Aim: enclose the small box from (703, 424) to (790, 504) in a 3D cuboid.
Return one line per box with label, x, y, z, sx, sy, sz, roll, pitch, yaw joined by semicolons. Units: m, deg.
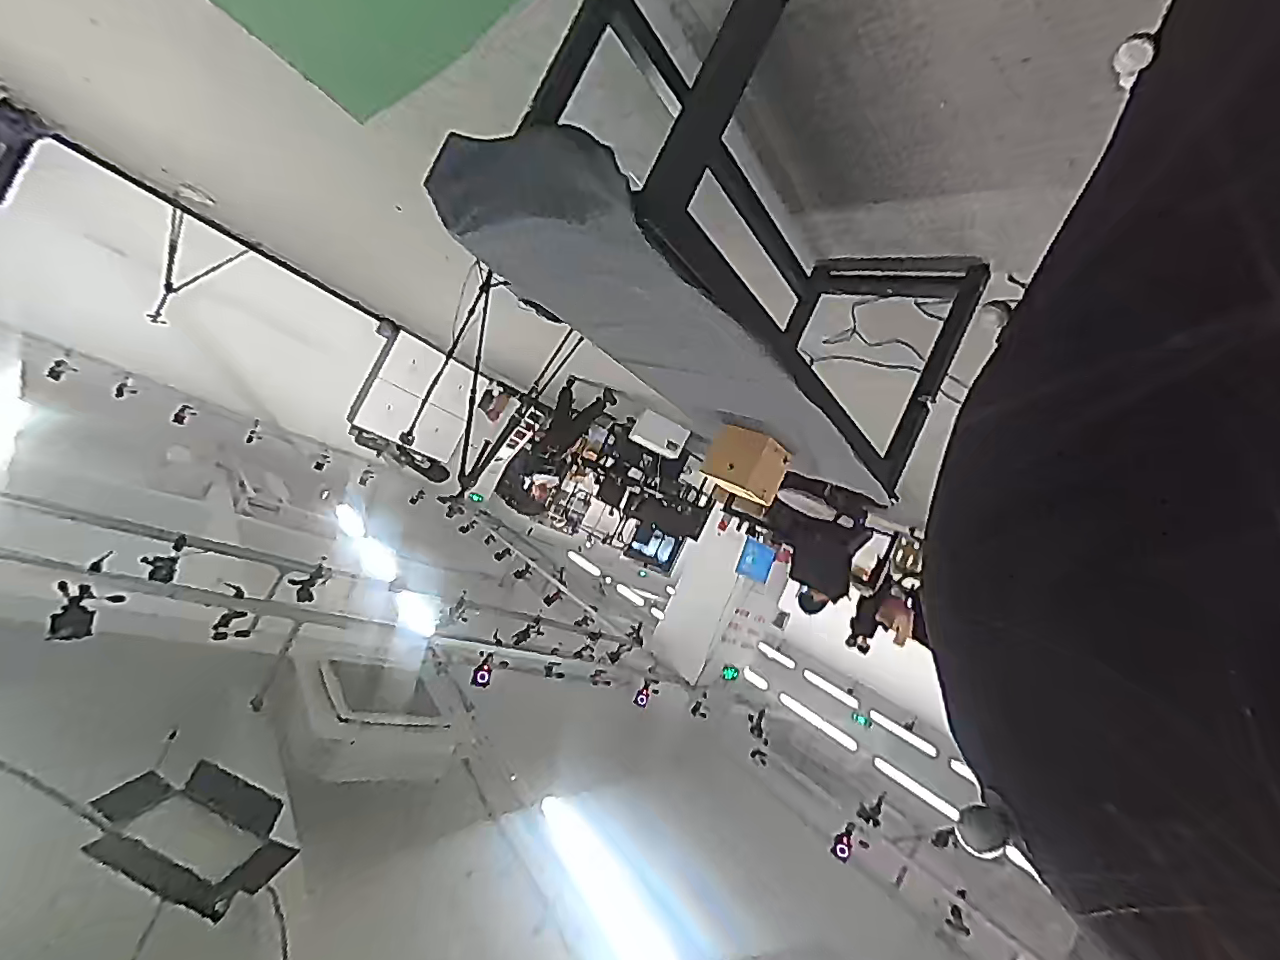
small box;0.324;-0.052;1.608;0.179;0.176;0.168;24;176;44
